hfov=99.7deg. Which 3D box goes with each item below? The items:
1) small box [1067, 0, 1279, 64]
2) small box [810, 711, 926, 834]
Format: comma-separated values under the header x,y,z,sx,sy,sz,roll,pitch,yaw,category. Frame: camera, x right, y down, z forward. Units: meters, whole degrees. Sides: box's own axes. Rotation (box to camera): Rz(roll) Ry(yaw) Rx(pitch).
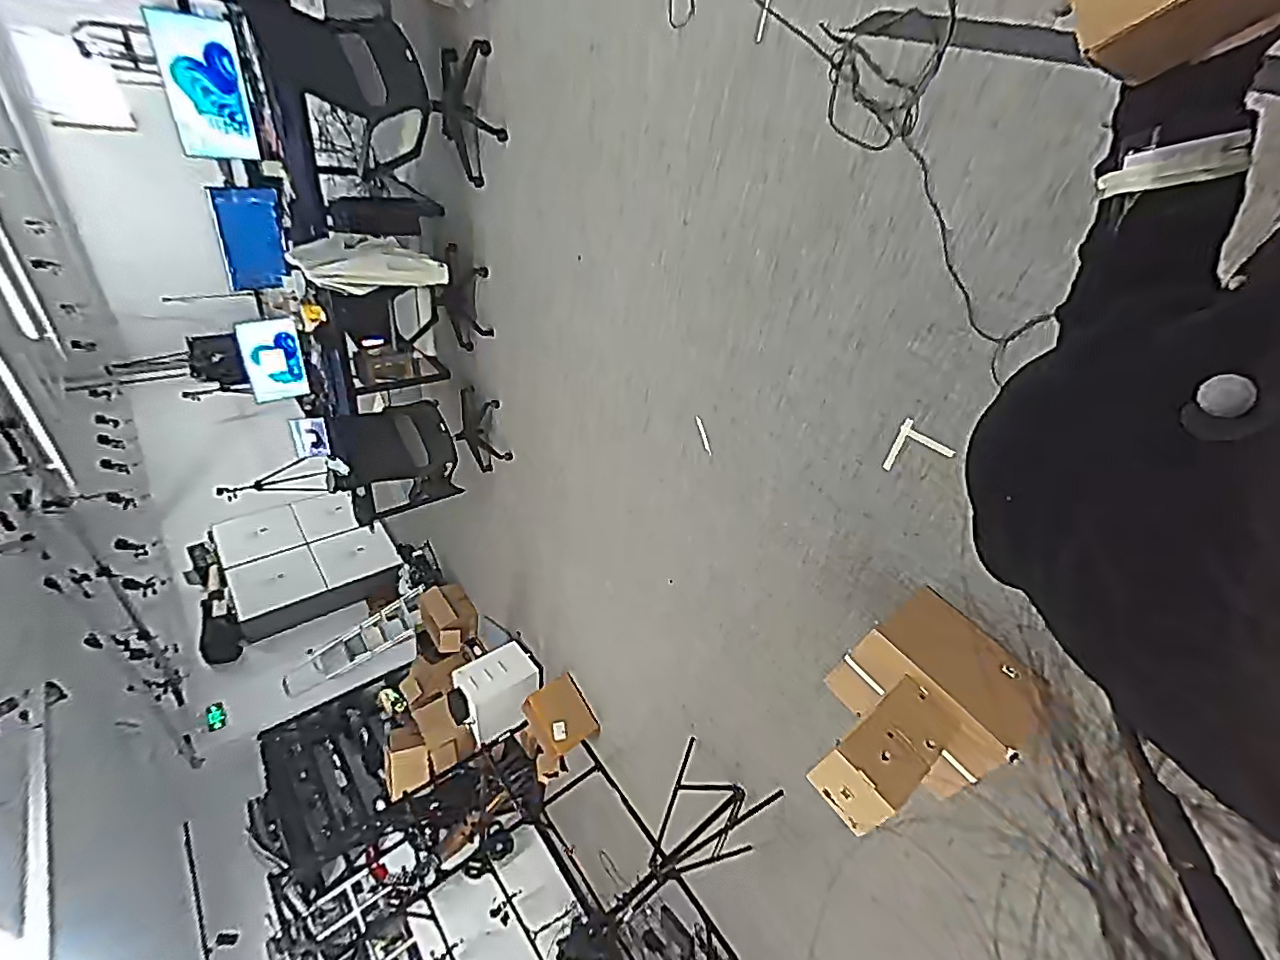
x,y,z,sx,sy,sz,roll,pitch,yaw,category
0.269,-0.303,0.211,0.168,0.176,0.179,-12,103,50,small box
0.550,0.693,1.295,0.168,0.176,0.179,46,138,29,small box
